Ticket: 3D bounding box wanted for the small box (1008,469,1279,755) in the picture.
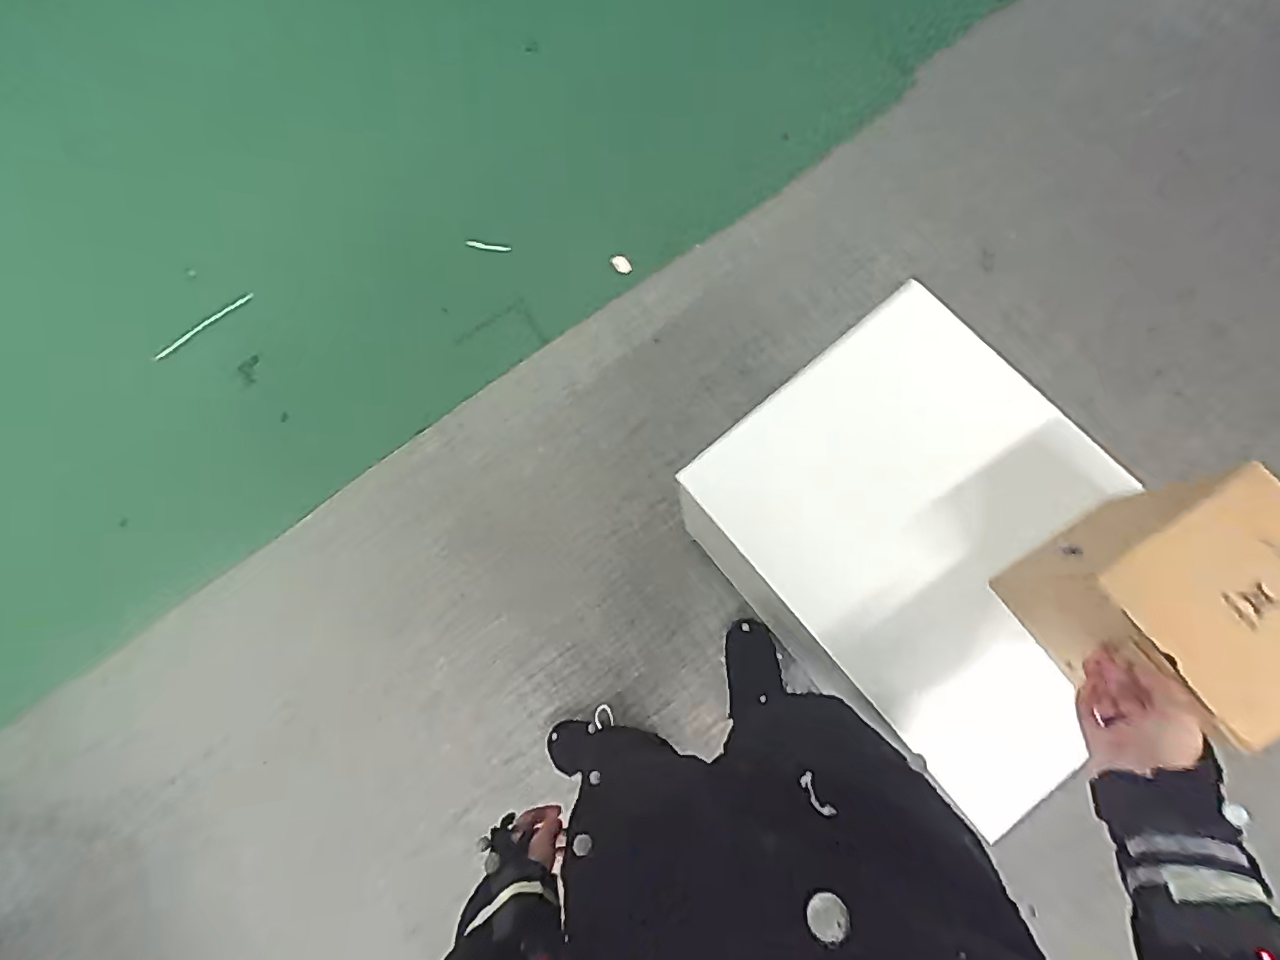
[{"bbox_3d":[0.494,0.118,0.509,0.179,0.176,0.168,-32,77,-3],"label":"small box"}]
